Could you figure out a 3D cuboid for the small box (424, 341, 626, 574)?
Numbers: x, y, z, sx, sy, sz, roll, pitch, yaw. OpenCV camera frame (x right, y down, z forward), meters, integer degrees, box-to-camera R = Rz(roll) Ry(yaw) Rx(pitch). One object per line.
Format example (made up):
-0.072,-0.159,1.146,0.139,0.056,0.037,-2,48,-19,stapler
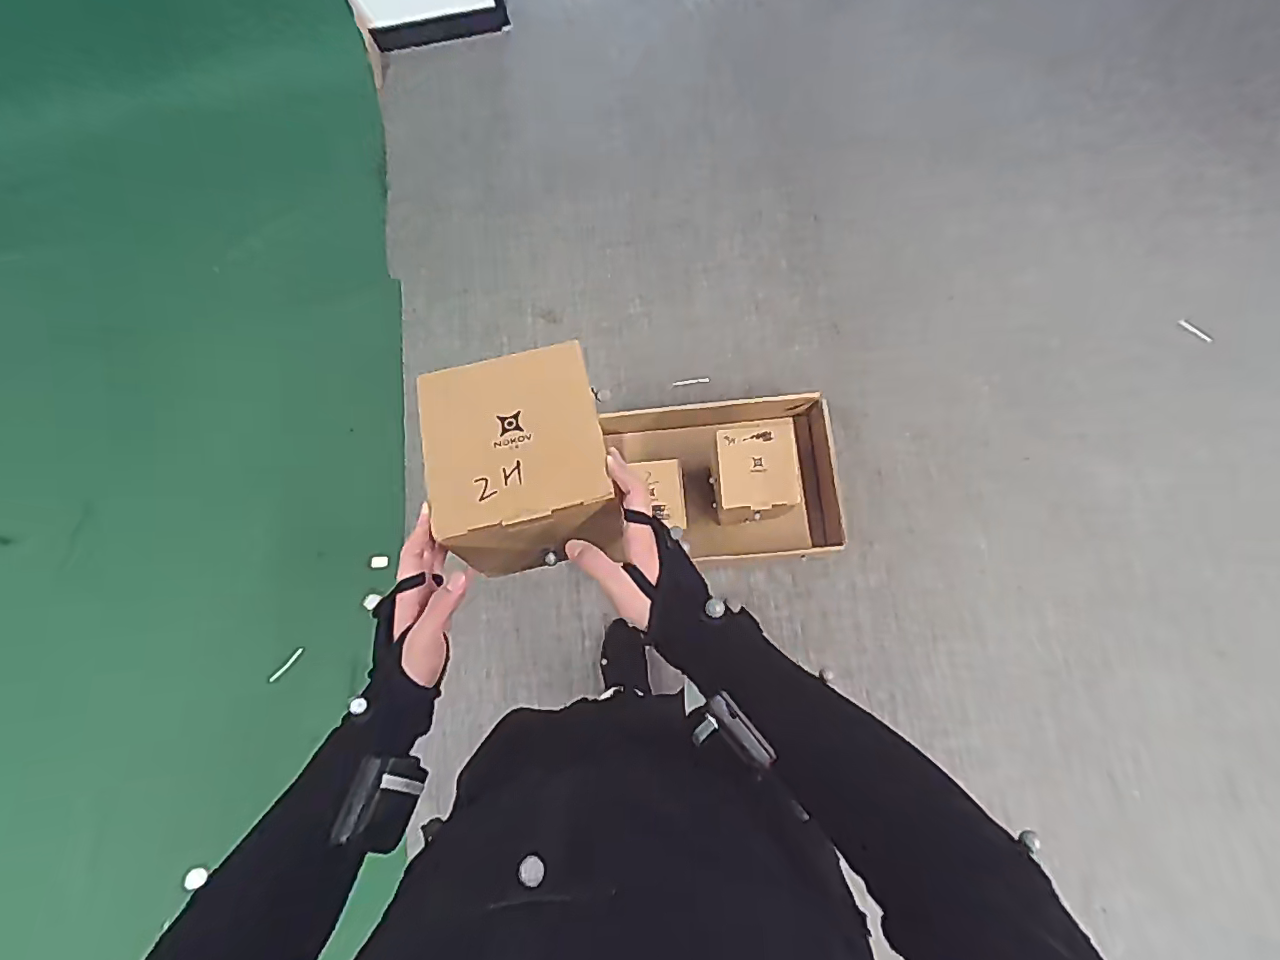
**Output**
-0.114,-0.016,0.581,0.168,0.176,0.179,-13,68,-2,small box

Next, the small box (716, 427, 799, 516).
0.261,-0.011,1.229,0.168,0.176,0.179,-3,79,6,small box
